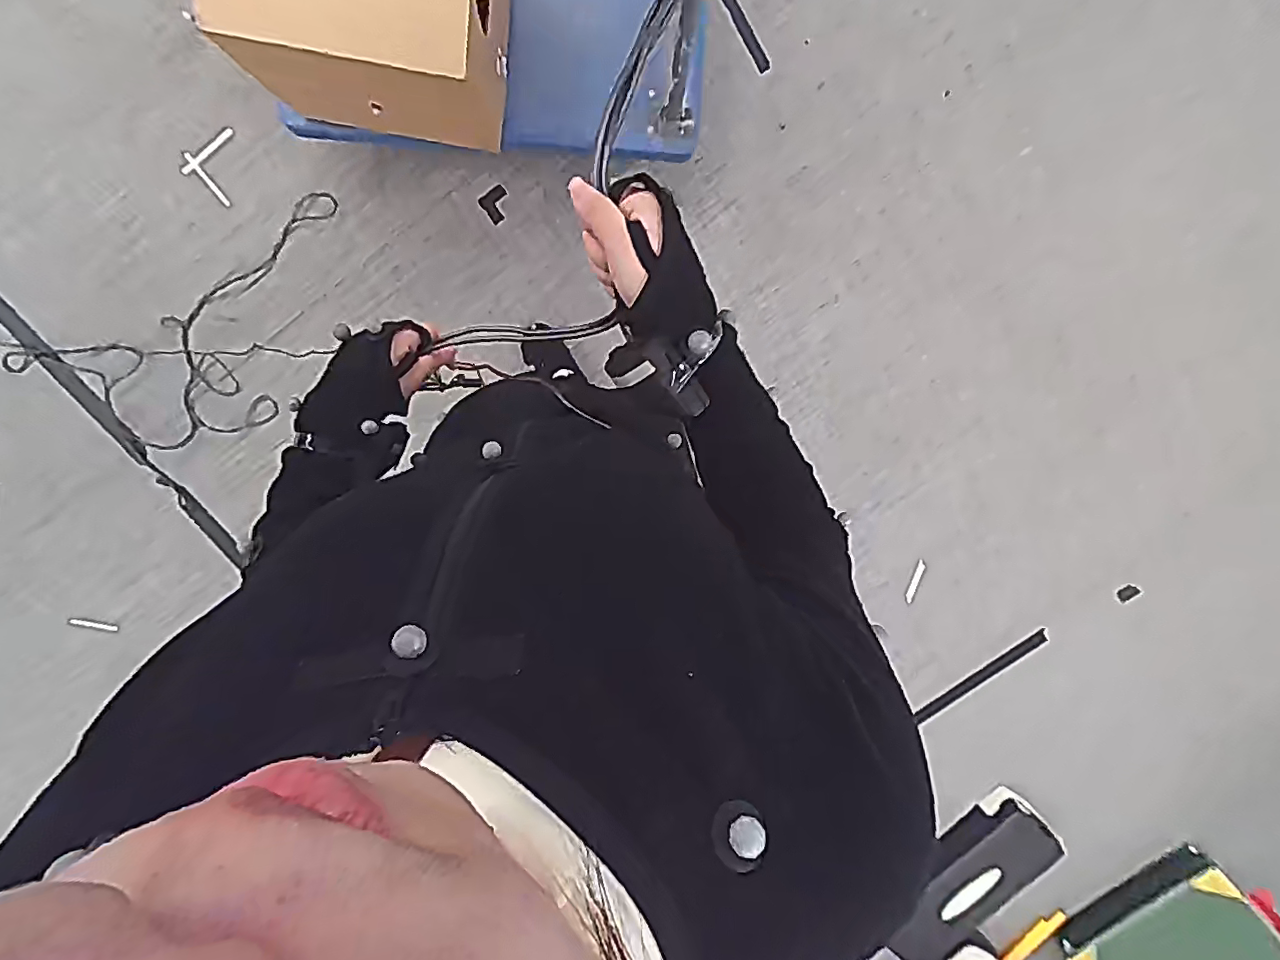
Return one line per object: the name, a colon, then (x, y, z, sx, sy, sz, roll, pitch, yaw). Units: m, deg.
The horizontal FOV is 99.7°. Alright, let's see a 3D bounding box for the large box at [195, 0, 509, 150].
large box: (-0.459, -0.824, 0.944, 0.408, 0.320, 0.320, 7, 101, -5)
